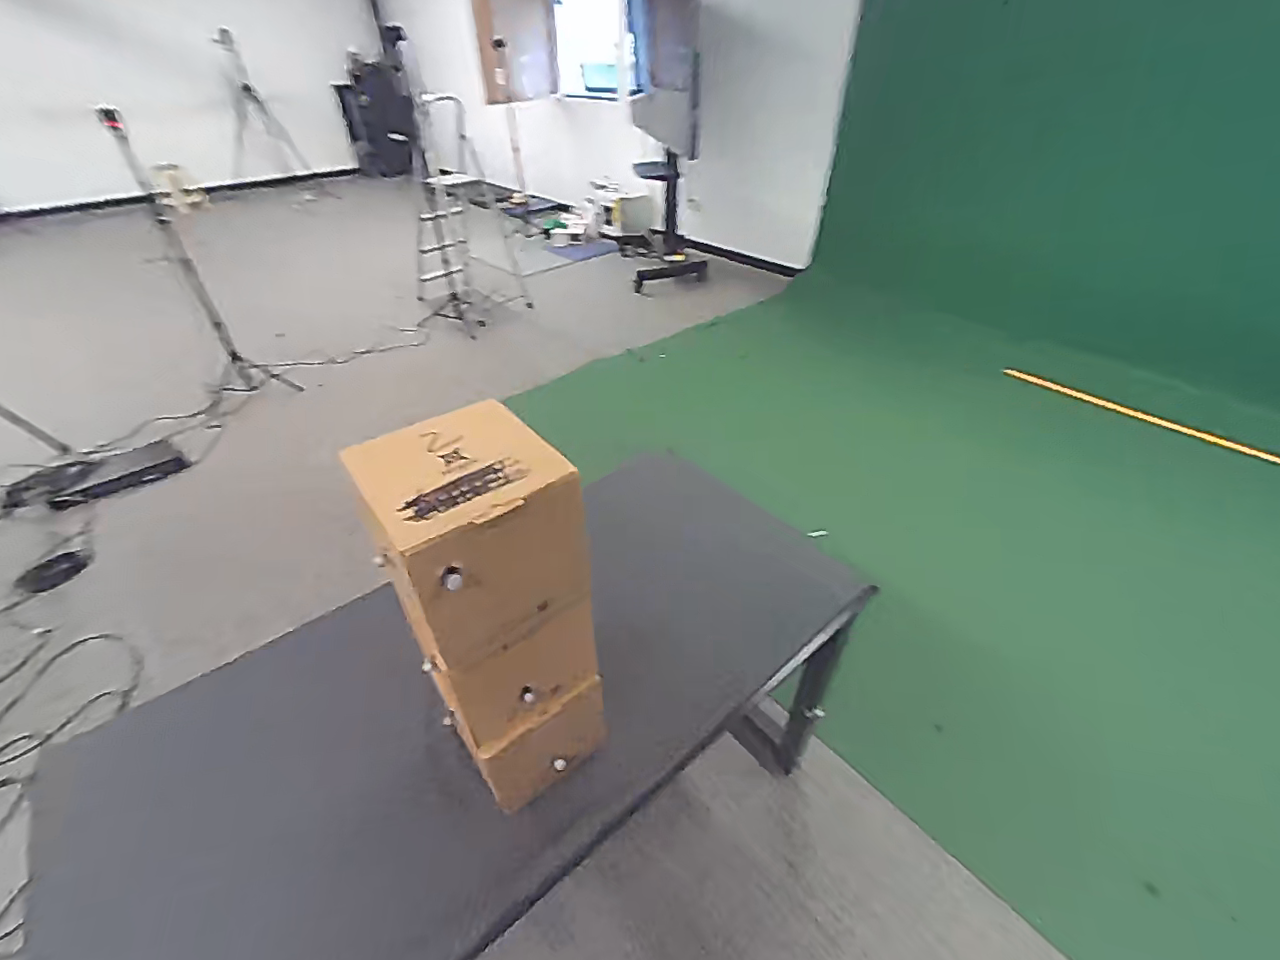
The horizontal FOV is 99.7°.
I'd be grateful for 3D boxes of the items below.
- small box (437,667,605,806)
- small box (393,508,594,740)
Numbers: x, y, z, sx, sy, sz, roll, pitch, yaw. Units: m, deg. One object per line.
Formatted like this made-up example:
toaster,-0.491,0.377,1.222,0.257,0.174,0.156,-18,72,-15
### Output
small box,-0.164,0.302,0.750,0.168,0.176,0.179,-27,45,-28
small box,-0.171,0.170,0.656,0.168,0.176,0.179,-26,45,-29
